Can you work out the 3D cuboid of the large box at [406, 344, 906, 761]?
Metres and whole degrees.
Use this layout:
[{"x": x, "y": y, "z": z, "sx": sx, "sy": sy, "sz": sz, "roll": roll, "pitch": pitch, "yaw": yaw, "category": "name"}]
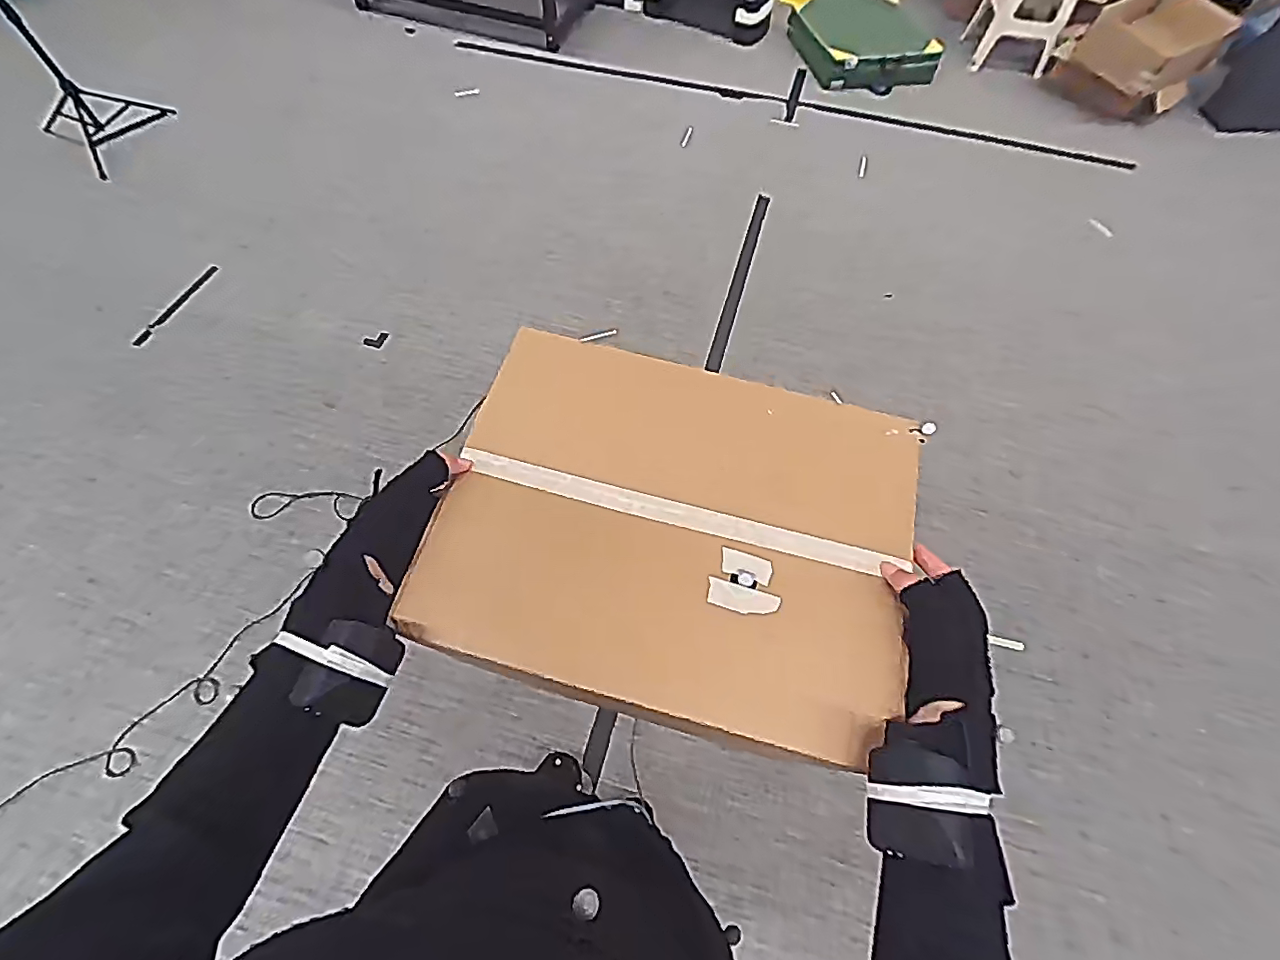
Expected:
[{"x": 0.028, "y": 0.098, "z": 0.621, "sx": 0.408, "sy": 0.320, "sz": 0.320, "roll": 15, "pitch": 66, "yaw": 4, "category": "large box"}]
